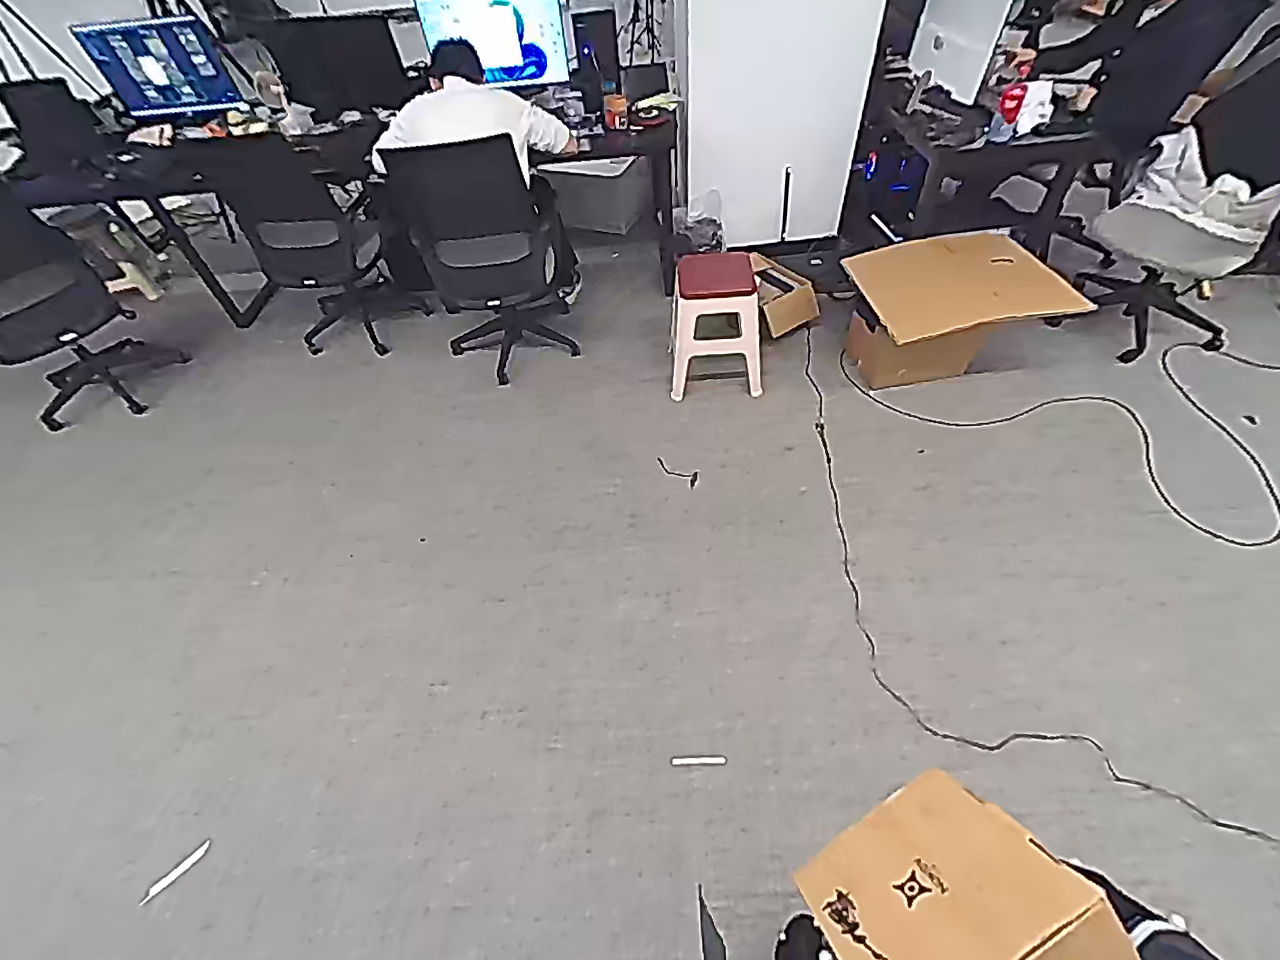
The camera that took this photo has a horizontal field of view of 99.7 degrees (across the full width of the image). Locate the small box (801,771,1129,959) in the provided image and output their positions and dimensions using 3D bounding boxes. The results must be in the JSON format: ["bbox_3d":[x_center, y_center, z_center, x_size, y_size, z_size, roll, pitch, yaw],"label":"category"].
[{"bbox_3d":[0.275,0.399,0.449,0.179,0.168,0.176,-31,94,-6],"label":"small box"}]
